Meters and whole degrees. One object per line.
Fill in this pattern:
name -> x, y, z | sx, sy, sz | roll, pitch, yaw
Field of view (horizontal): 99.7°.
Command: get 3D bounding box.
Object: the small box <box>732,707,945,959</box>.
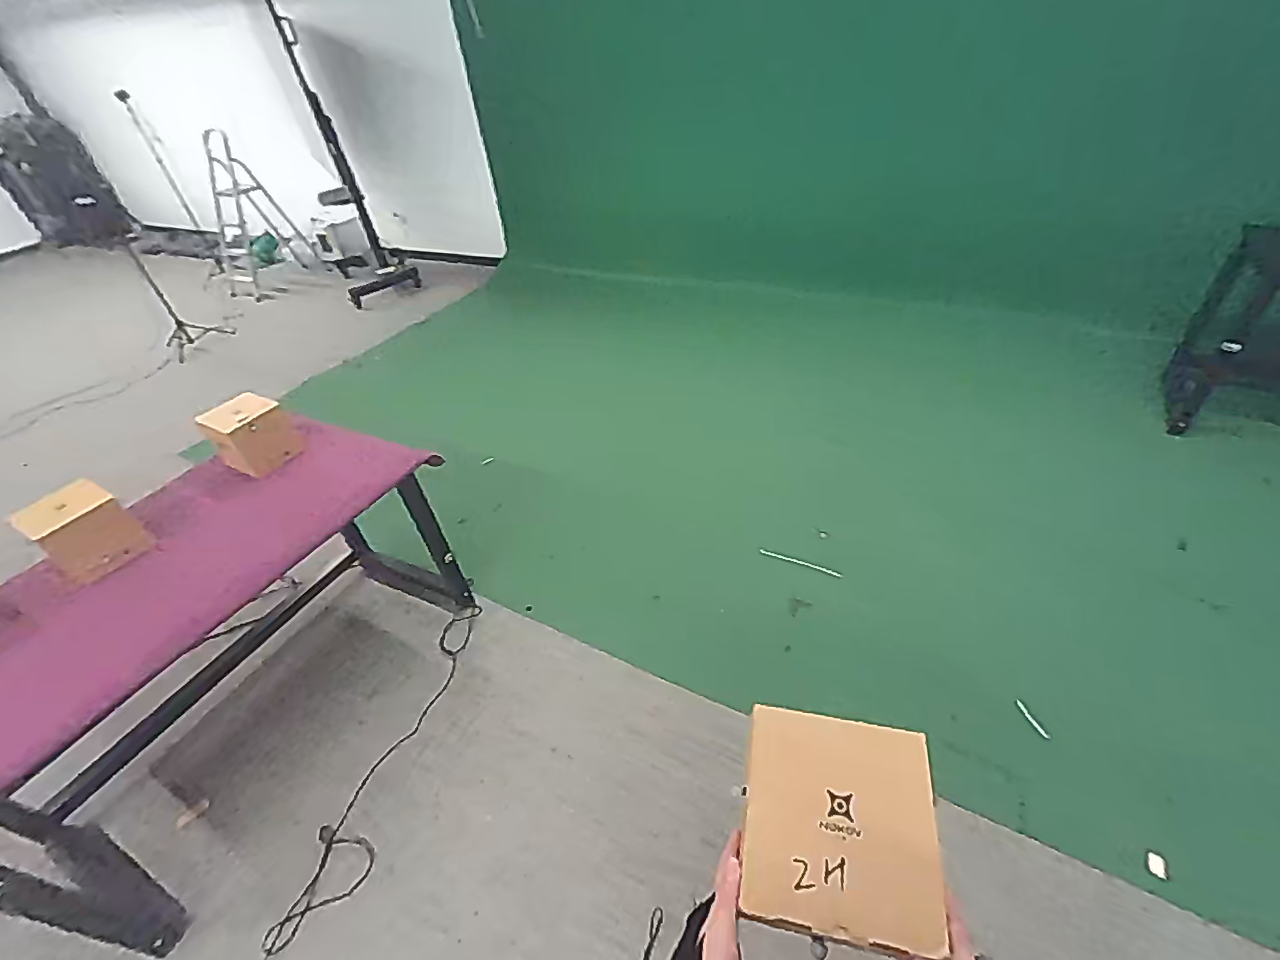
small box -> 0.187, 0.361, 0.555 | 0.168, 0.176, 0.179 | 6, 52, 12

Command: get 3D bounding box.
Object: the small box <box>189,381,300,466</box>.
small box -> -1.155, -0.164, 1.590 | 0.179, 0.176, 0.168 | 17, 48, 24

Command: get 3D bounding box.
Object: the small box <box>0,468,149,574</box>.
small box -> -1.373, 0.101, 1.320 | 0.179, 0.176, 0.168 | 19, 48, 24
